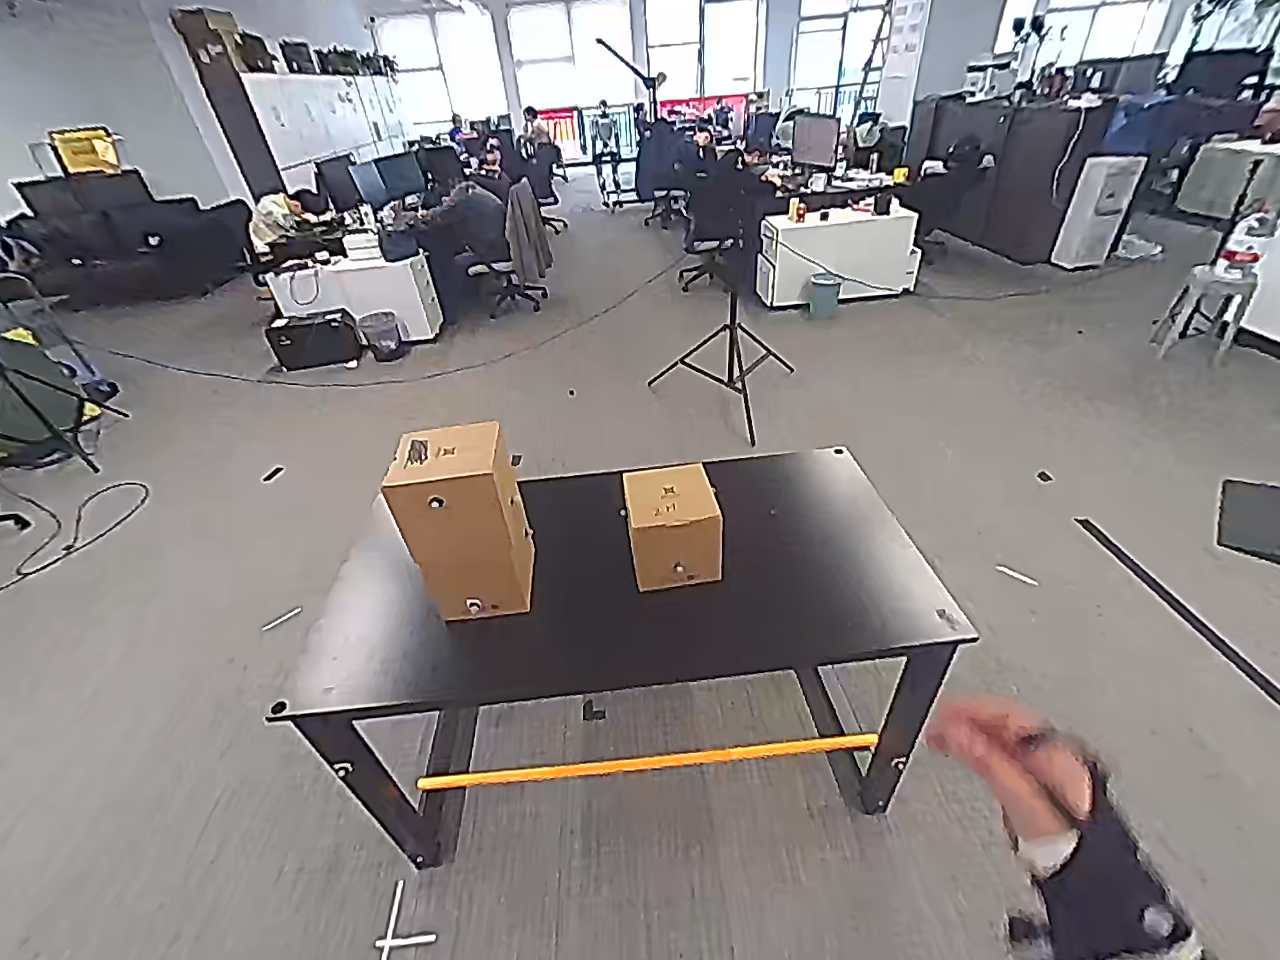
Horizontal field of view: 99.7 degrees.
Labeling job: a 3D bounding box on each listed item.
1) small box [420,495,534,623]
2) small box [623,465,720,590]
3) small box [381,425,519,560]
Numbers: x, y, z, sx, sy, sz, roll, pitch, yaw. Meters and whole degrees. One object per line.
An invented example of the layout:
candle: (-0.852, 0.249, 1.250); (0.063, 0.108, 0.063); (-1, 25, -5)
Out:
small box: (-0.307, 0.153, 1.061); (0.168, 0.176, 0.179); (-8, 37, -2)
small box: (0.060, 0.094, 1.087); (0.168, 0.176, 0.179); (-8, 36, -3)
small box: (-0.323, 0.025, 0.958); (0.179, 0.176, 0.168); (-8, 36, -3)
